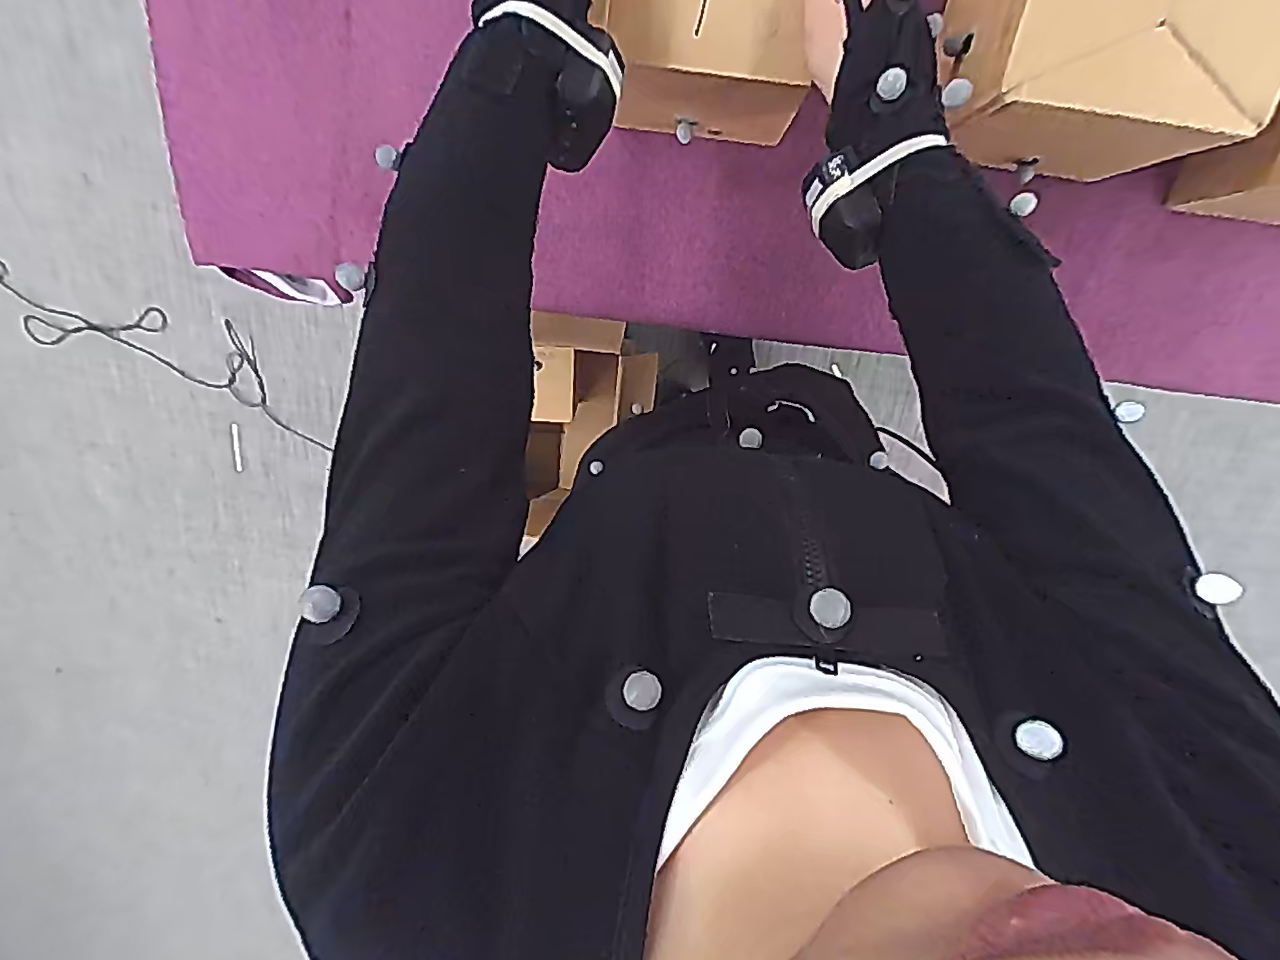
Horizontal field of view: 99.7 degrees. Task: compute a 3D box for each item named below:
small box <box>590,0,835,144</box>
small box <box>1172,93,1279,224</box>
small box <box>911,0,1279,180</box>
[{"bbox_3d":[0.062,-0.394,0.428,0.168,0.176,0.179,9,110,3],"label":"small box"},{"bbox_3d":[0.588,-0.297,0.407,0.179,0.176,0.168,10,107,2],"label":"small box"},{"bbox_3d":[0.347,-0.349,0.412,0.179,0.176,0.168,10,108,2],"label":"small box"}]
